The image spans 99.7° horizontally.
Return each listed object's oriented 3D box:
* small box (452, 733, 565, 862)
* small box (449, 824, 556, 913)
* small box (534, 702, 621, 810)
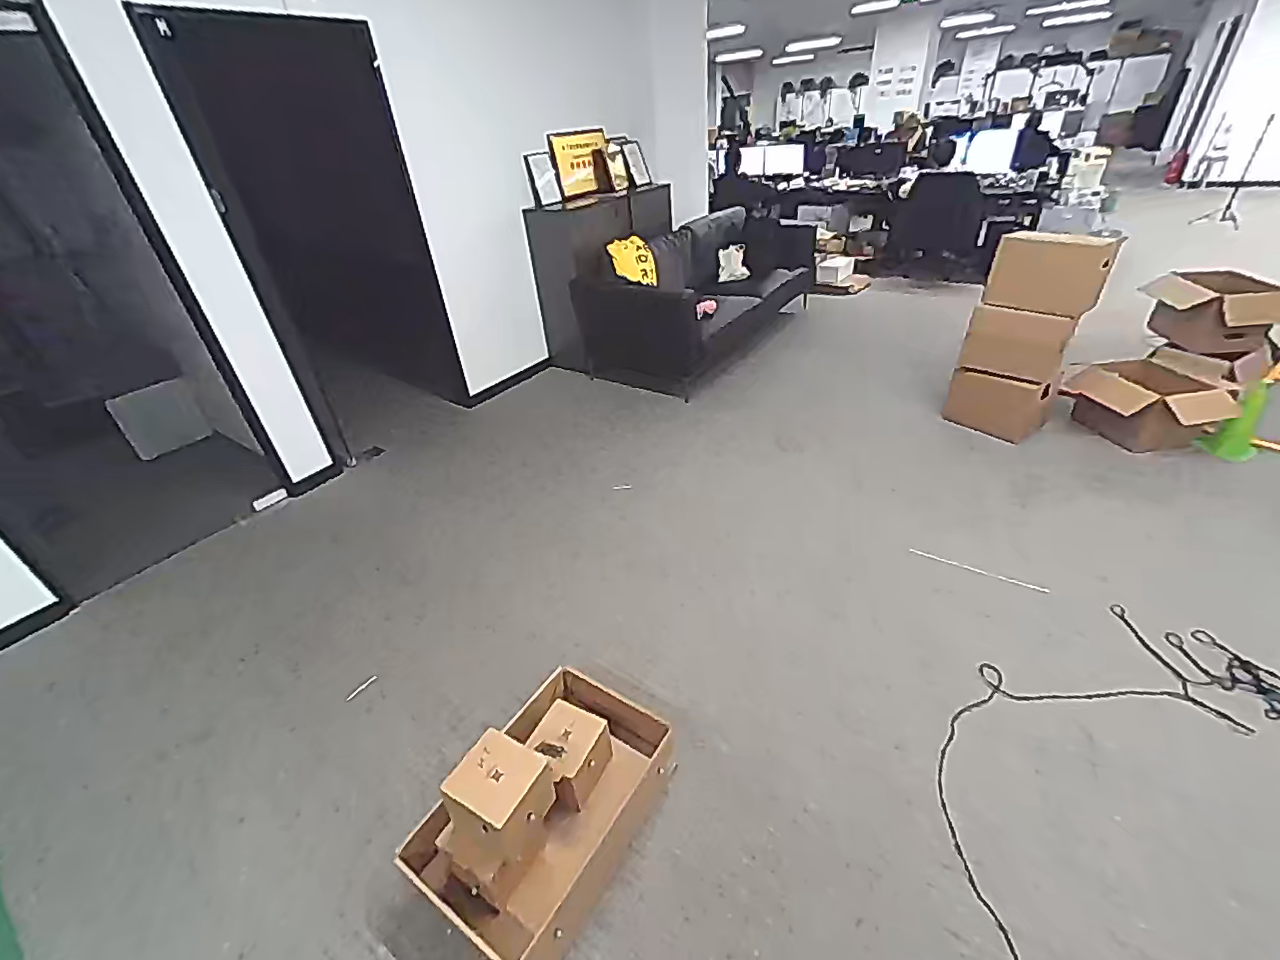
[{"bbox_3d":[-0.290,0.725,1.231,0.179,0.176,0.168,14,36,26],"label":"small box"},{"bbox_3d":[-0.319,0.881,1.296,0.168,0.176,0.179,16,37,27],"label":"small box"},{"bbox_3d":[-0.164,0.751,1.467,0.168,0.176,0.179,12,38,25],"label":"small box"}]
